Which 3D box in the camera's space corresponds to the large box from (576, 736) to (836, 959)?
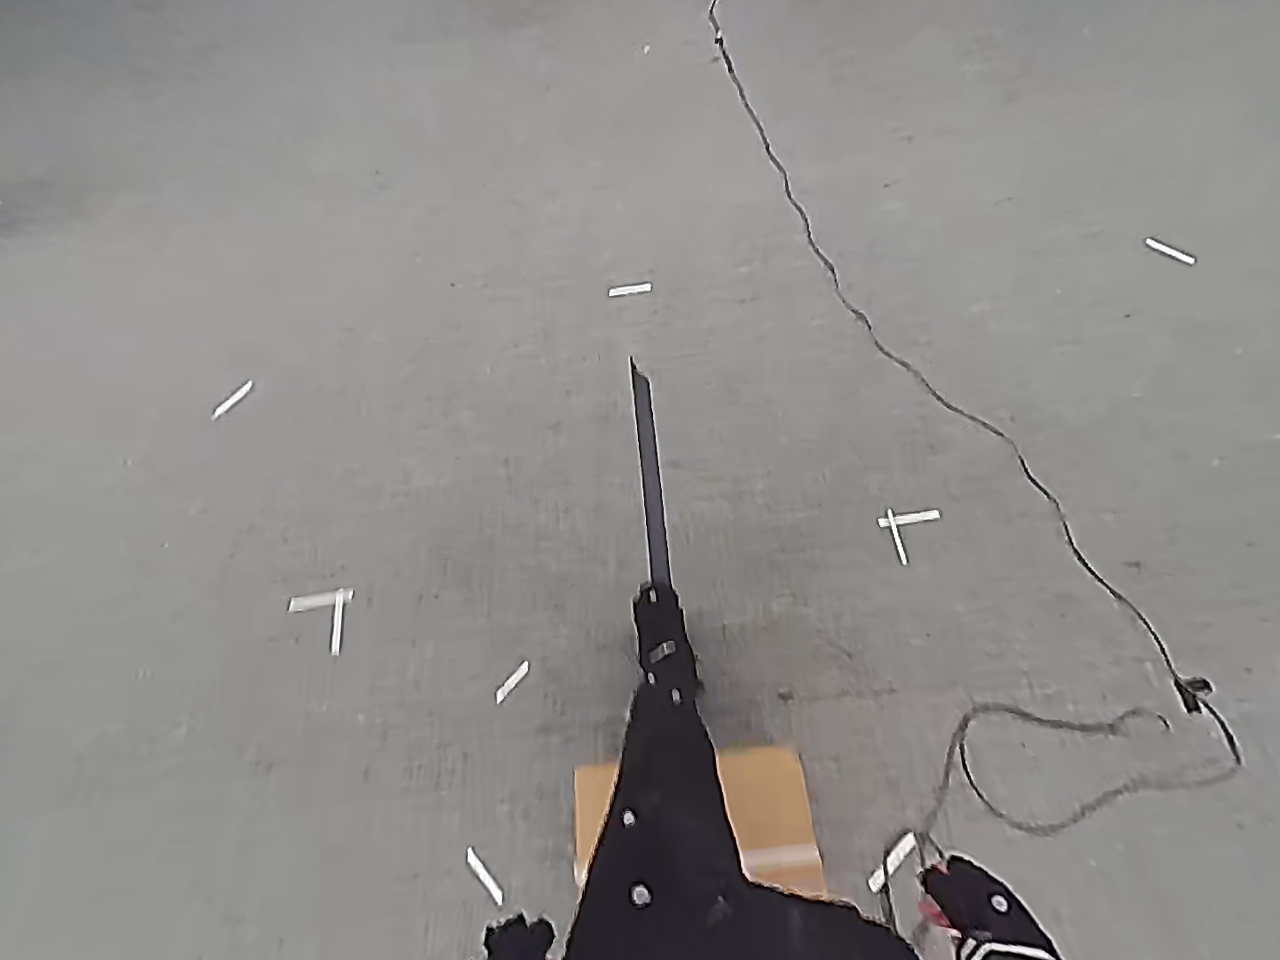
[{"bbox_3d":[0.109,0.688,1.044,0.408,0.320,0.320,-7,67,3],"label":"large box"}]
